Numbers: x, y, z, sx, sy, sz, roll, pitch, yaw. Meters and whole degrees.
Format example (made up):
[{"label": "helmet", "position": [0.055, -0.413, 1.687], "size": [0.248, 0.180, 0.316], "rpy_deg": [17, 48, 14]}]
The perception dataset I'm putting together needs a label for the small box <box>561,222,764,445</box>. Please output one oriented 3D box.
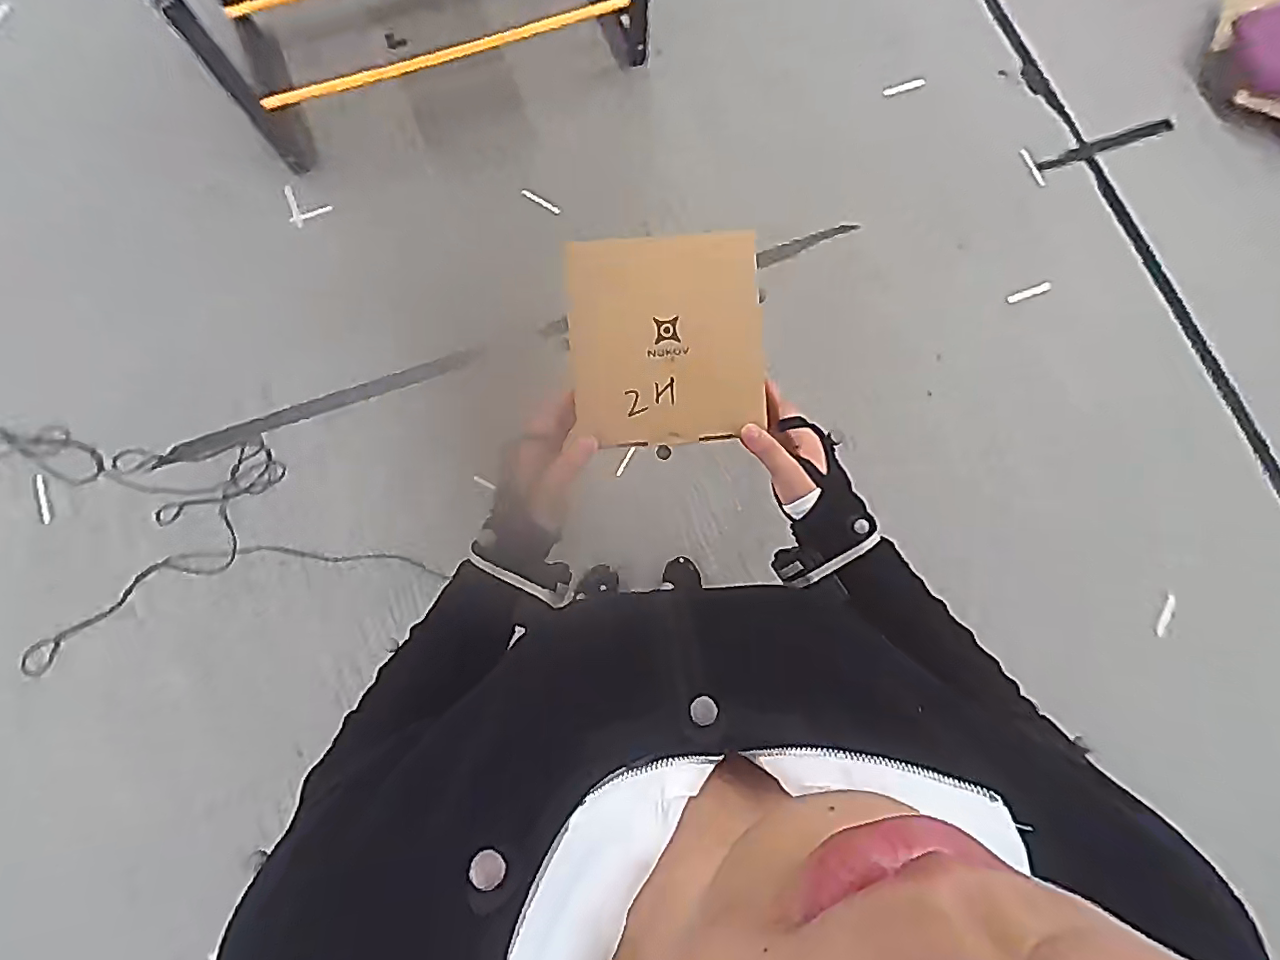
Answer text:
[{"label": "small box", "position": [0.018, -0.131, 0.543], "size": [0.168, 0.176, 0.179], "rpy_deg": [-6, 93, 0]}]
